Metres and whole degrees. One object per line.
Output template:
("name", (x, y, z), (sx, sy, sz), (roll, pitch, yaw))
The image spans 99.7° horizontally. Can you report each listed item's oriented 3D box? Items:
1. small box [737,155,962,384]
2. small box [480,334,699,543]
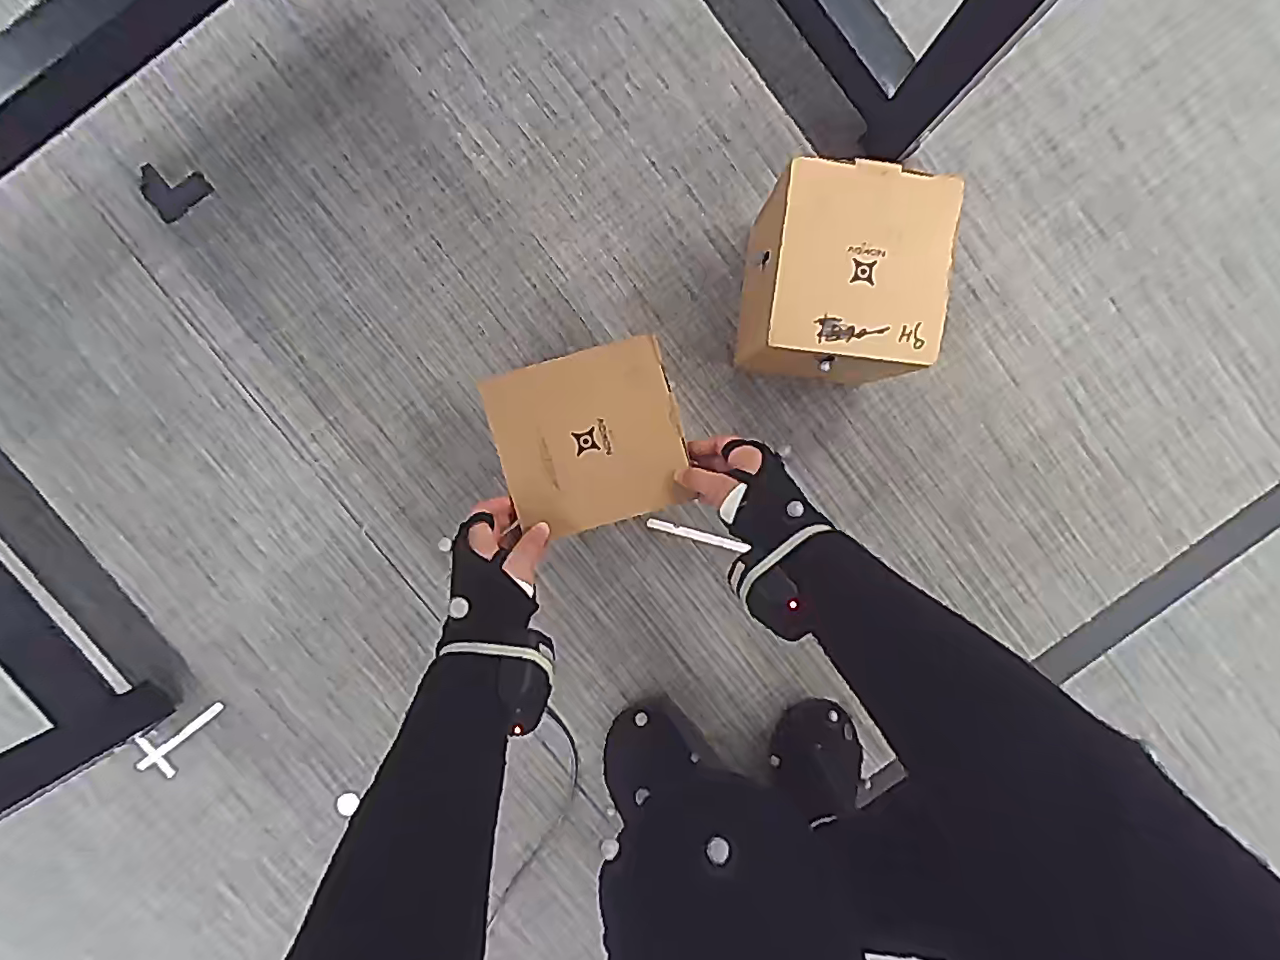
("small box", (0.207, -0.209, 0.583), (0.168, 0.176, 0.179), (6, 93, -1))
("small box", (-0.049, -0.045, 0.592), (0.179, 0.176, 0.168), (-16, 94, 1))
